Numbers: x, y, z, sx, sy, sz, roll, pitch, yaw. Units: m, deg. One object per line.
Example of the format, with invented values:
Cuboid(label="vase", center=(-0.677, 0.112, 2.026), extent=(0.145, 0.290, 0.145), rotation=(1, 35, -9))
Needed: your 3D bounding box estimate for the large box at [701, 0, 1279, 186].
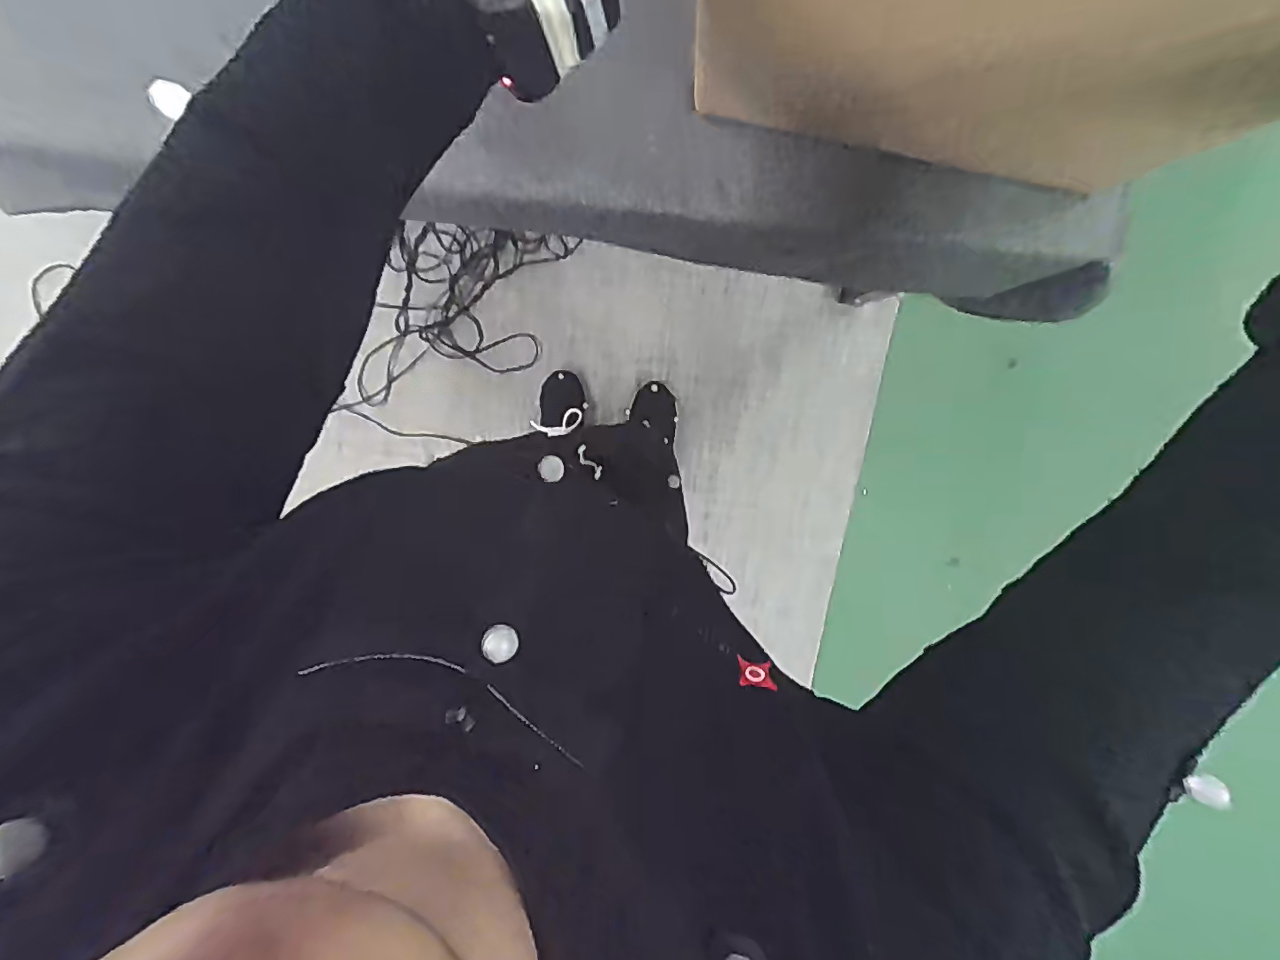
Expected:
Cuboid(label="large box", center=(0.271, -0.435, 0.352), extent=(0.408, 0.320, 0.320), rotation=(12, 104, 1))
